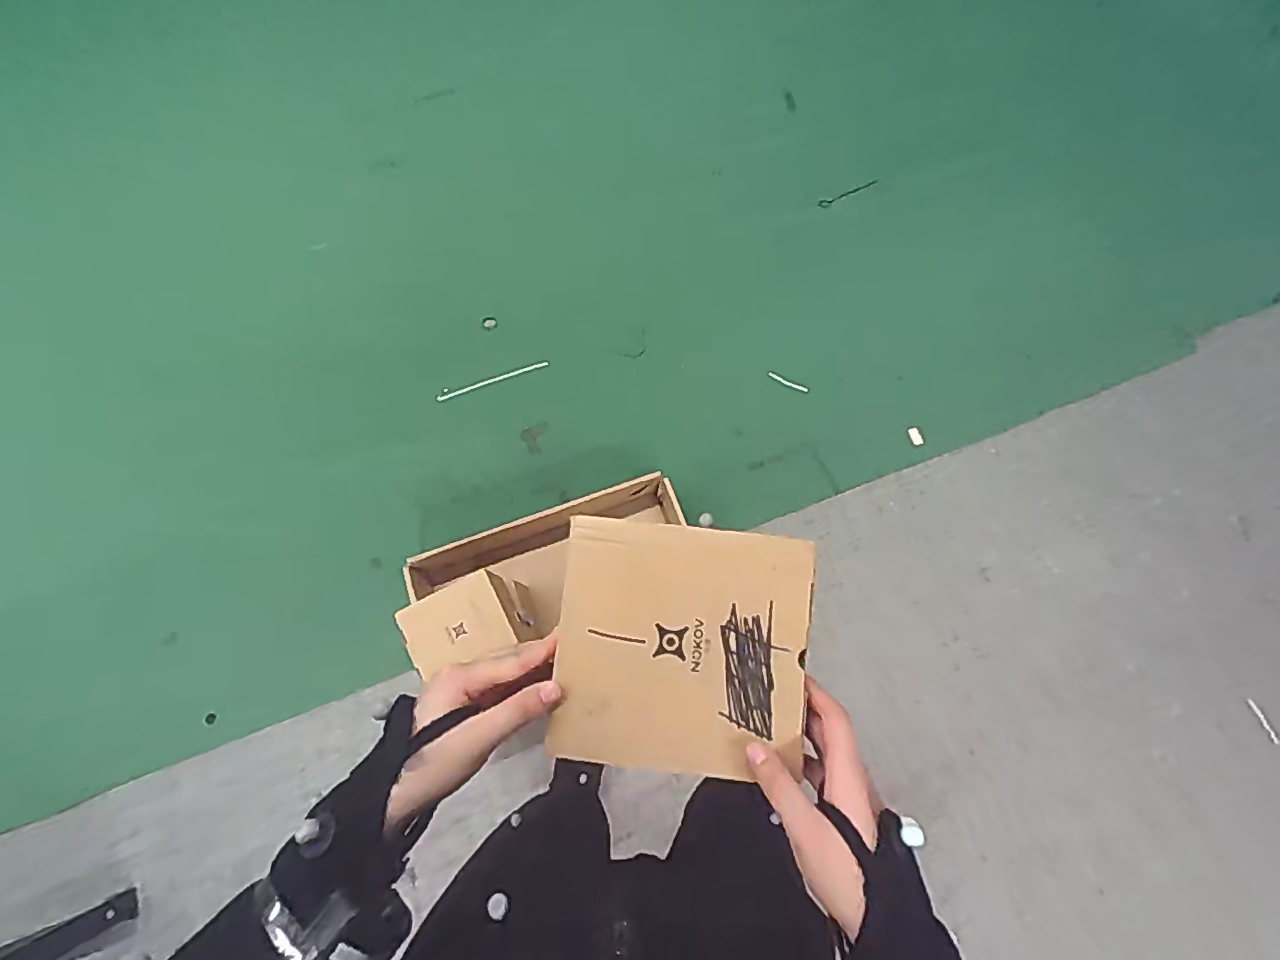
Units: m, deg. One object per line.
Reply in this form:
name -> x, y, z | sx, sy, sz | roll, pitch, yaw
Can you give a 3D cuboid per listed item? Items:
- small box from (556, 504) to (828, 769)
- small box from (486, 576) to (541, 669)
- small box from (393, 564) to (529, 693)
small box -> 0.038, 0.116, 0.452 | 0.179, 0.176, 0.168 | 6, 82, 1
small box -> -0.331, 0.322, 1.184 | 0.179, 0.176, 0.168 | -18, 77, -6
small box -> -0.328, 0.280, 1.026 | 0.179, 0.176, 0.168 | -27, 79, -11
